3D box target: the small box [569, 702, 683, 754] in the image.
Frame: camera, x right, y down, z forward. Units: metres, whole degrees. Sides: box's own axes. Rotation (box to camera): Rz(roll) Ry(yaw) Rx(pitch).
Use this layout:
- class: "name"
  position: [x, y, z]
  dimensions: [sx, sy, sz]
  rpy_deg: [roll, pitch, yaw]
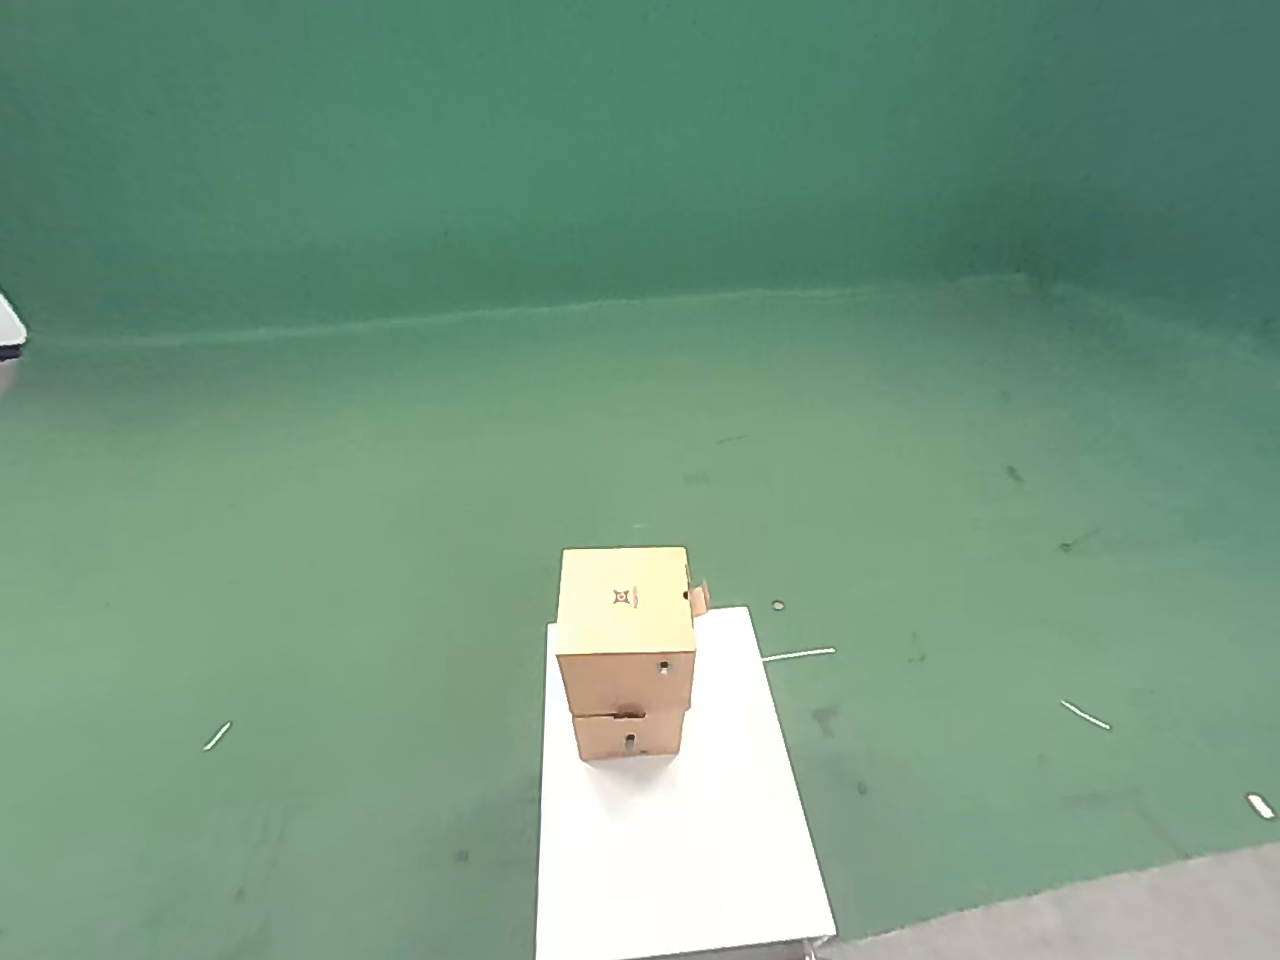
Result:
- class: "small box"
  position: [-0.023, 0.324, 0.870]
  dimensions: [0.168, 0.176, 0.179]
  rpy_deg: [-3, 44, -3]

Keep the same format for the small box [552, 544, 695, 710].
- class: "small box"
  position: [-0.020, 0.207, 0.756]
  dimensions: [0.179, 0.176, 0.168]
  rpy_deg: [-1, 43, -2]
